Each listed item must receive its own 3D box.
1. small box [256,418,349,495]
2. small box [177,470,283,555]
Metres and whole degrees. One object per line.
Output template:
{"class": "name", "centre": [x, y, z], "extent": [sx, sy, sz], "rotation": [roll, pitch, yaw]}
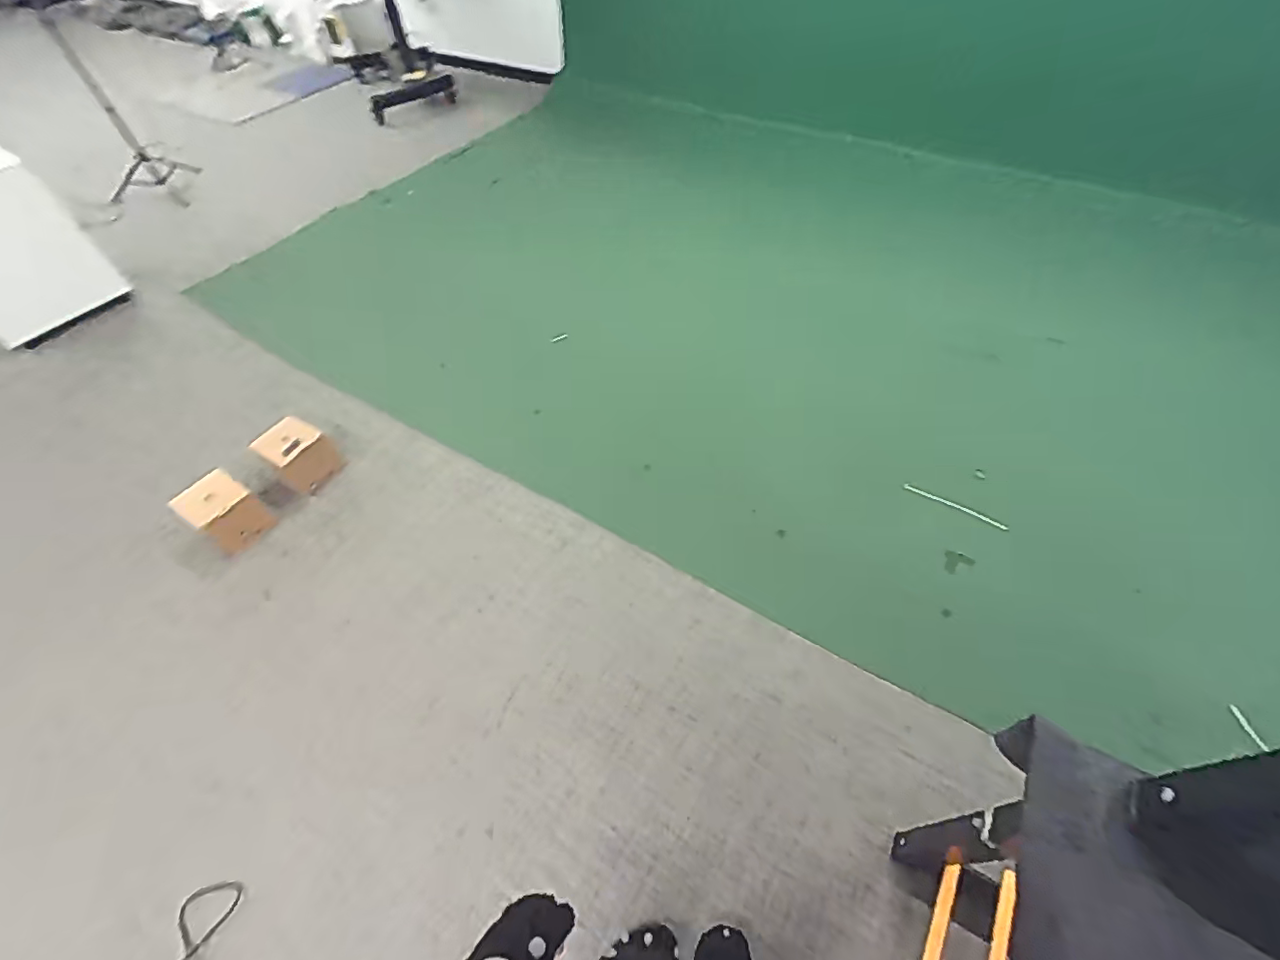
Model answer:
{"class": "small box", "centre": [-1.135, -0.074, 1.833], "extent": [0.179, 0.176, 0.168], "rotation": [24, 57, 19]}
{"class": "small box", "centre": [-1.280, 0.108, 1.698], "extent": [0.179, 0.176, 0.168], "rotation": [28, 57, 20]}
